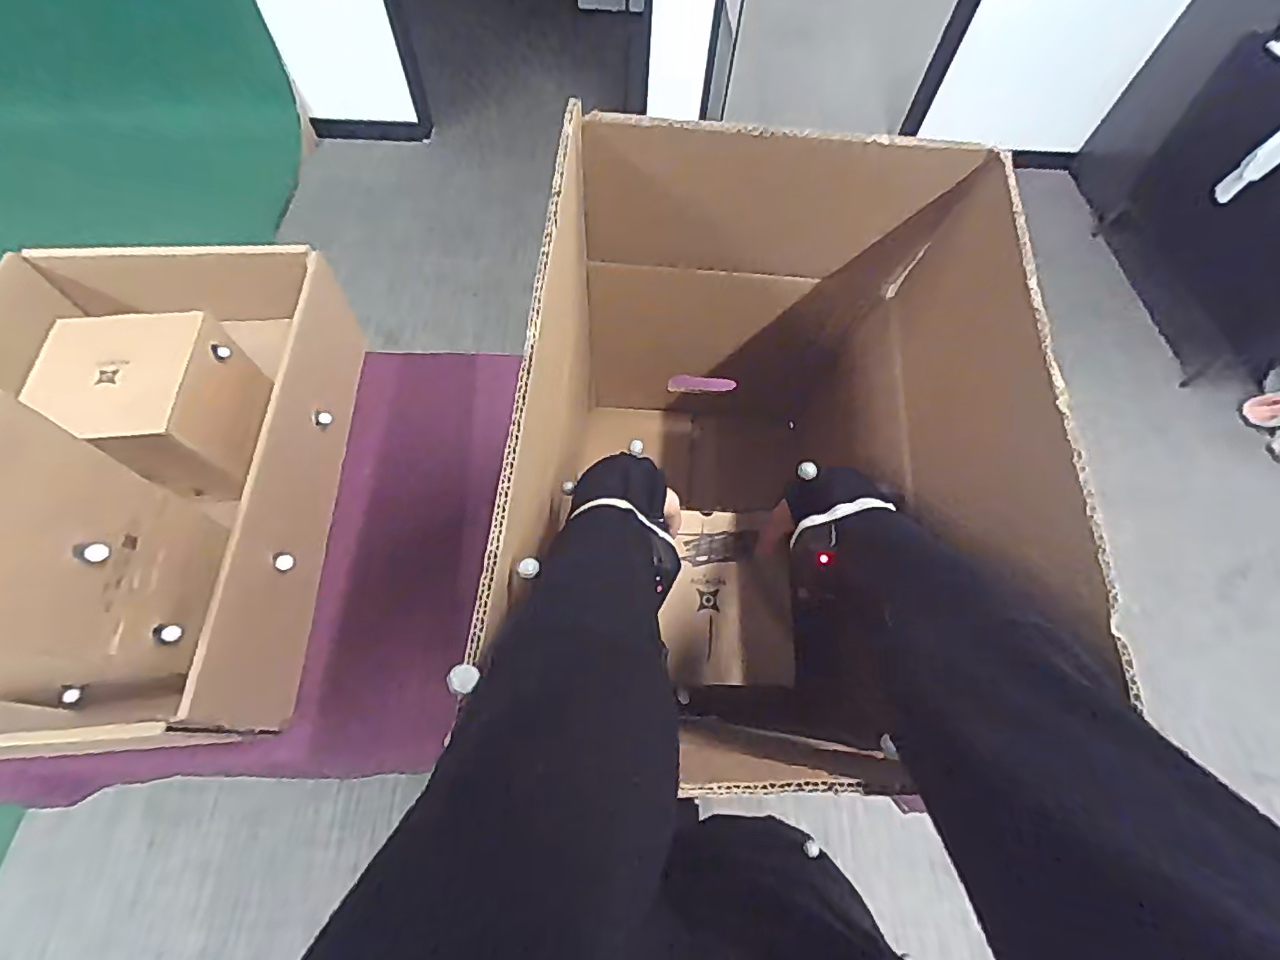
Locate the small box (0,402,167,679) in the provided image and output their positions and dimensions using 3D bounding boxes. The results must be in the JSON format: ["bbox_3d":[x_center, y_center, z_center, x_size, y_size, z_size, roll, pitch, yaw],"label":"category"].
[{"bbox_3d":[-0.537,0.057,0.416,0.179,0.176,0.168,-2,62,-3],"label":"small box"}]

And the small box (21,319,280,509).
[{"bbox_3d":[-0.588,-0.072,0.673,0.168,0.176,0.179,-5,62,-4],"label":"small box"}]
